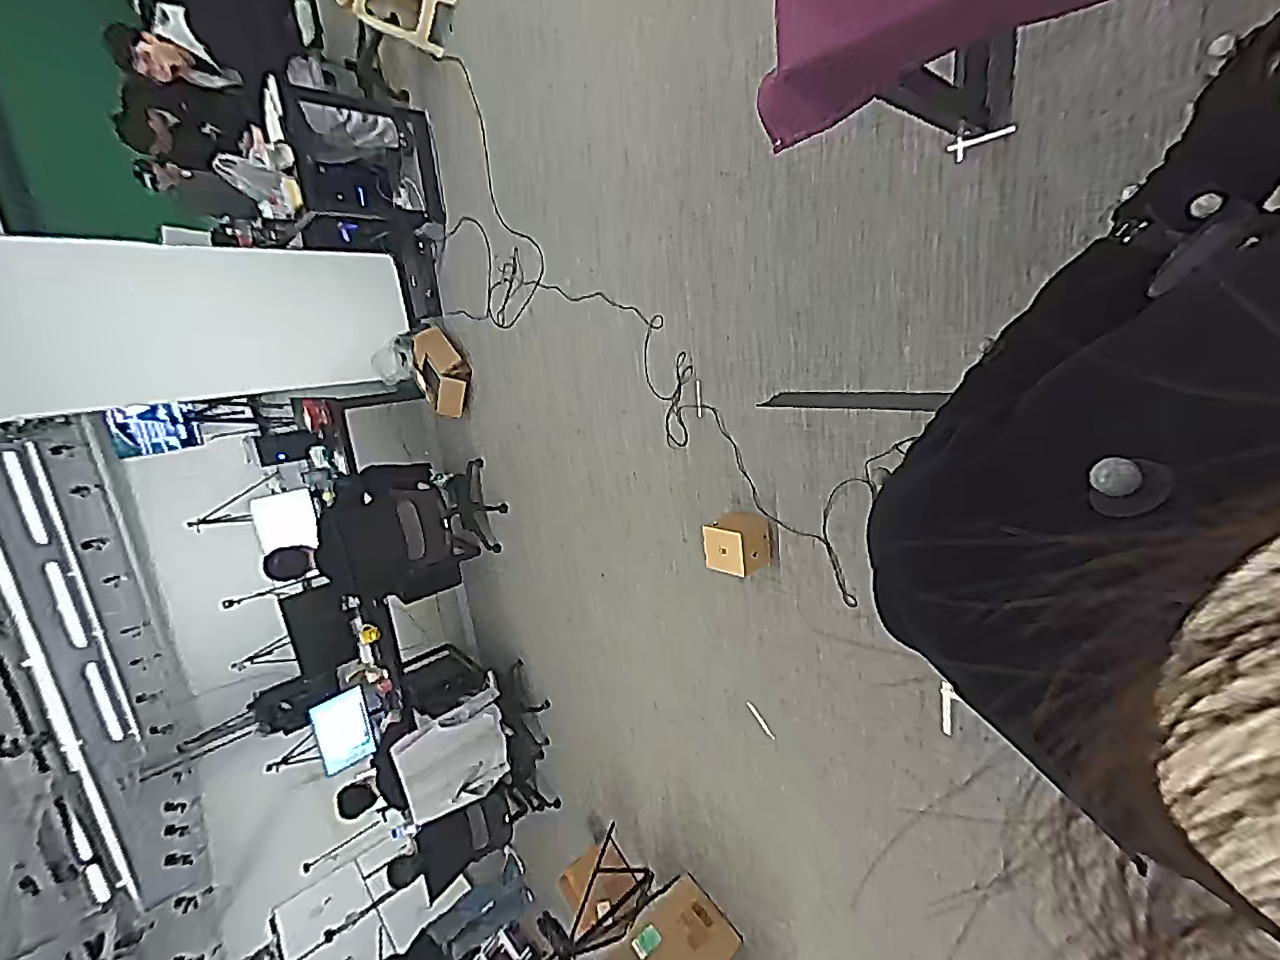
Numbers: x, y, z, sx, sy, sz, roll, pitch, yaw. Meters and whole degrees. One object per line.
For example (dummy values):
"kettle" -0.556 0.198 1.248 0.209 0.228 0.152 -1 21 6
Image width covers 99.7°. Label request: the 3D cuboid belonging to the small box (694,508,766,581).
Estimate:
"small box" 0.316 0.230 1.943 0.179 0.176 0.168 64 163 -19
